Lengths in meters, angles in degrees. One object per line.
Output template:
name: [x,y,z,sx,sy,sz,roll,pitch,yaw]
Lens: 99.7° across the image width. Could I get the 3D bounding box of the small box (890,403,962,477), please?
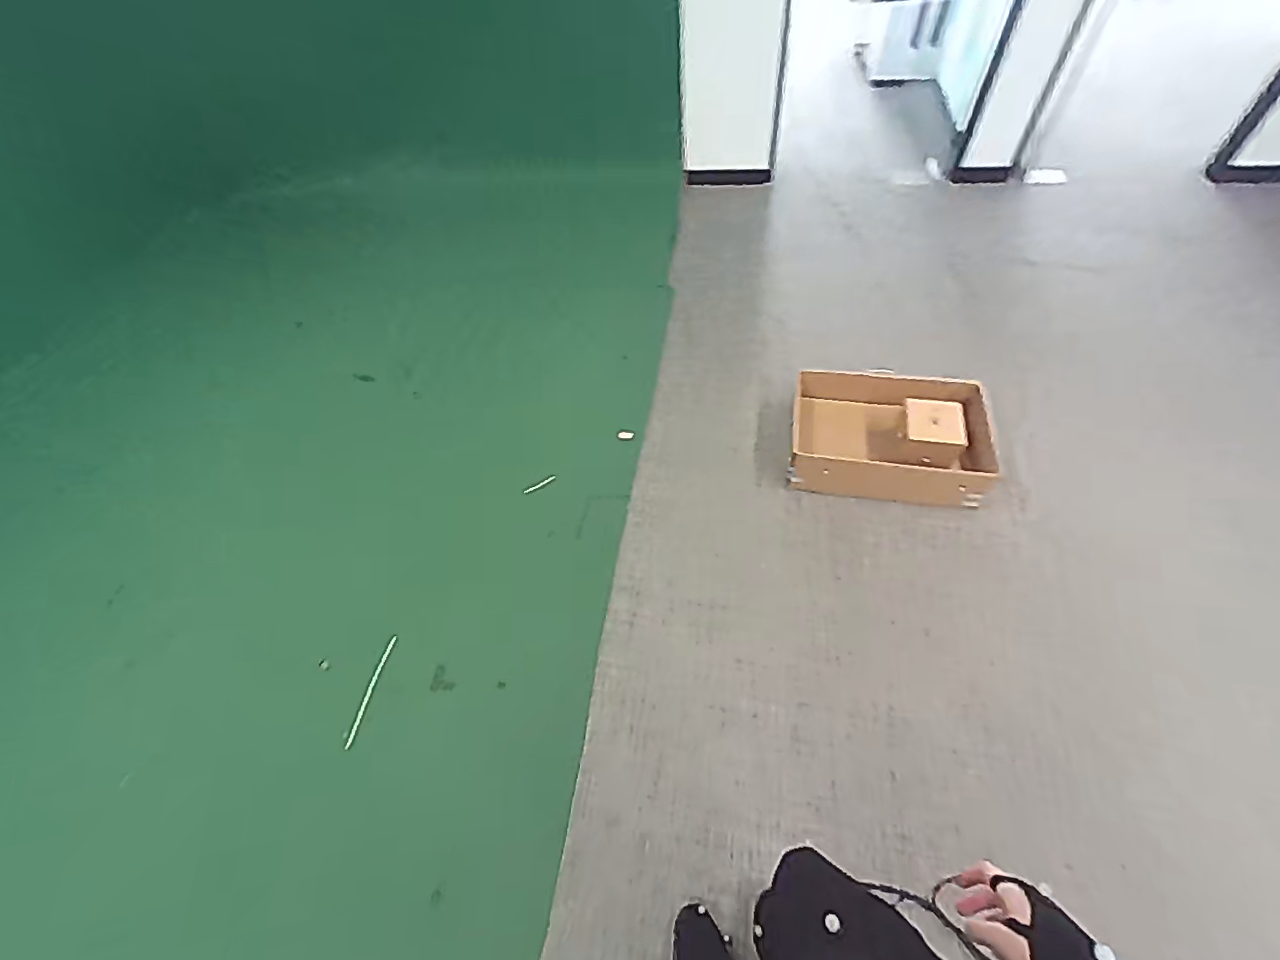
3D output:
small box: [0.935,-0.129,1.782,0.168,0.176,0.179,8,56,11]
